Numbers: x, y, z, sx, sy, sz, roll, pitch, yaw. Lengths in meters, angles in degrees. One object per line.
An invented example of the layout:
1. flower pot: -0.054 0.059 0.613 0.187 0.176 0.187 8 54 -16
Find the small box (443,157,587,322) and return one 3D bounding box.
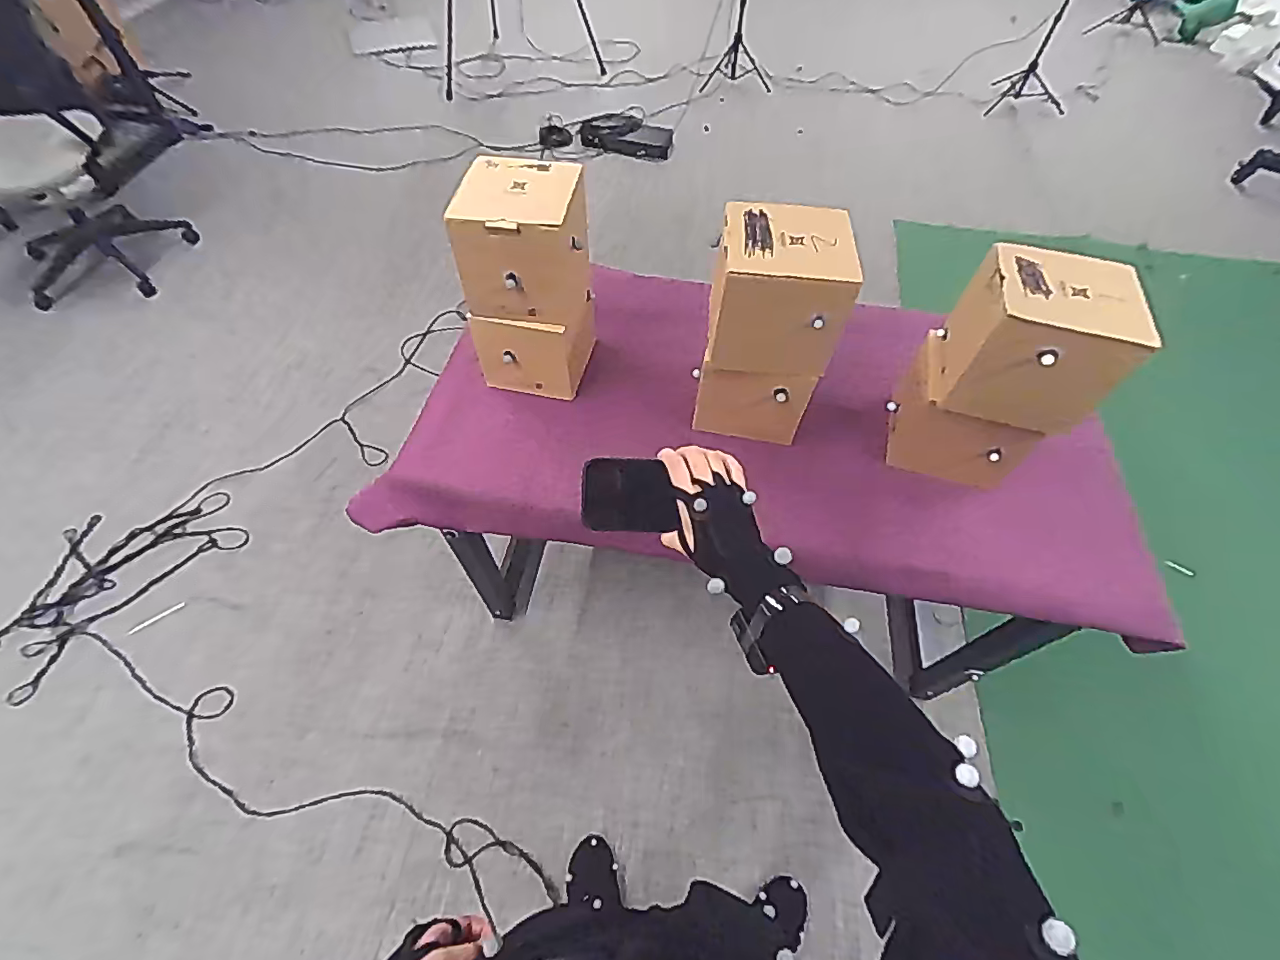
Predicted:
1. small box: -0.179 -0.369 0.842 0.168 0.176 0.179 6 57 2

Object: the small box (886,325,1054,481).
1. small box: 0.527 -0.120 0.882 0.179 0.176 0.168 15 56 9

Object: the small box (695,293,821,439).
1. small box: 0.197 -0.189 0.922 0.179 0.176 0.168 10 56 6

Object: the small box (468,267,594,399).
1. small box: -0.182 -0.270 0.973 0.168 0.176 0.179 10 56 6

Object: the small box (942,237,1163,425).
1. small box: 0.535 -0.198 0.737 0.179 0.176 0.168 15 56 8
